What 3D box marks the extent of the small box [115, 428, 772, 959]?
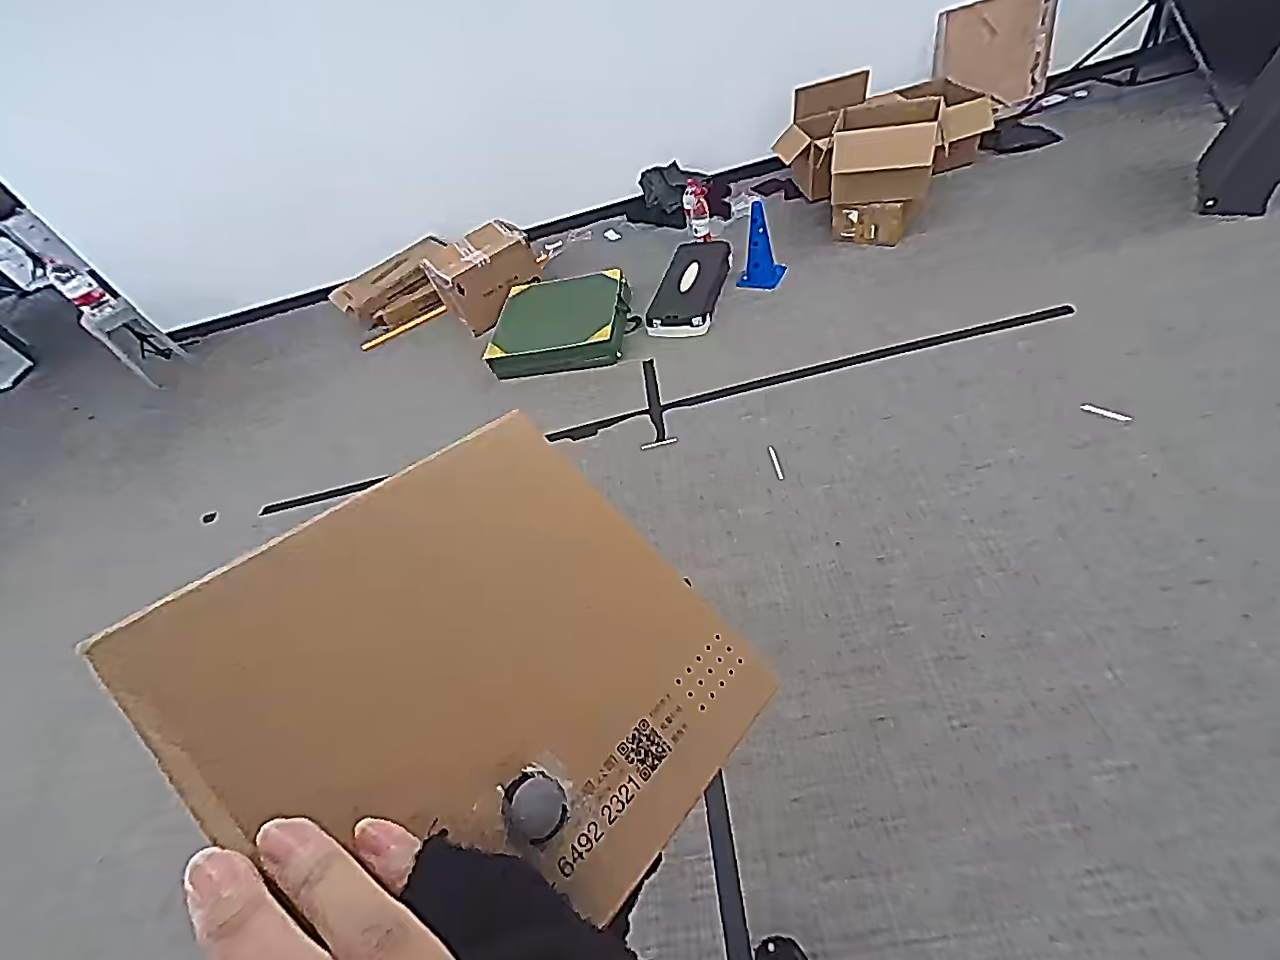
[{"bbox_3d":[-0.074,0.116,0.258,0.176,0.179,0.168,45,54,10],"label":"small box"}]
